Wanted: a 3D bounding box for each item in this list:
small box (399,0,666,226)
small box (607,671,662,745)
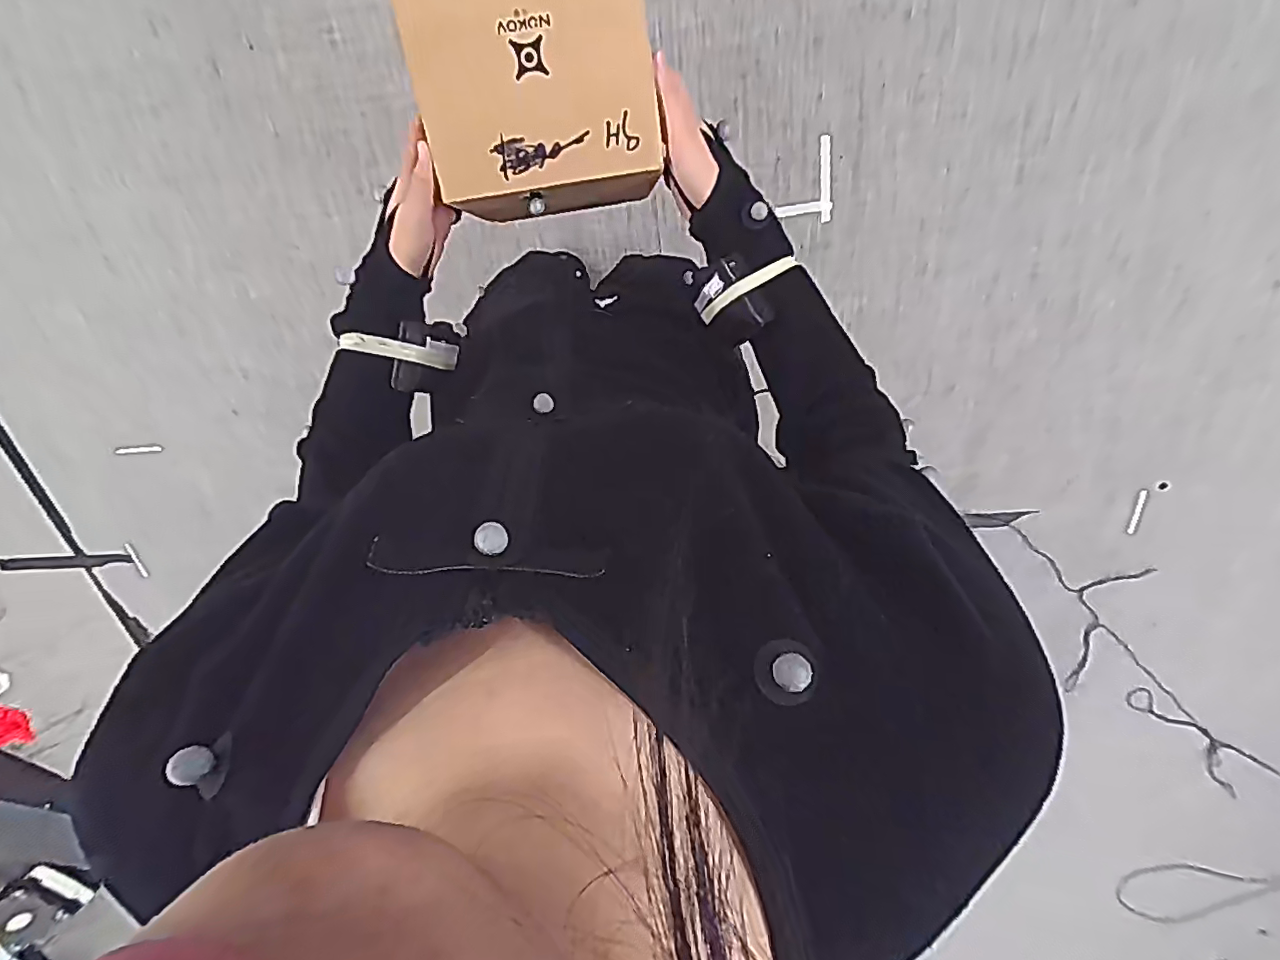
[{"bbox_3d":[-0.078,-0.319,0.438,0.168,0.176,0.179,-9,111,0],"label":"small box"},{"bbox_3d":[-0.013,0.790,1.874,0.168,0.176,0.179,-5,115,6],"label":"small box"}]
